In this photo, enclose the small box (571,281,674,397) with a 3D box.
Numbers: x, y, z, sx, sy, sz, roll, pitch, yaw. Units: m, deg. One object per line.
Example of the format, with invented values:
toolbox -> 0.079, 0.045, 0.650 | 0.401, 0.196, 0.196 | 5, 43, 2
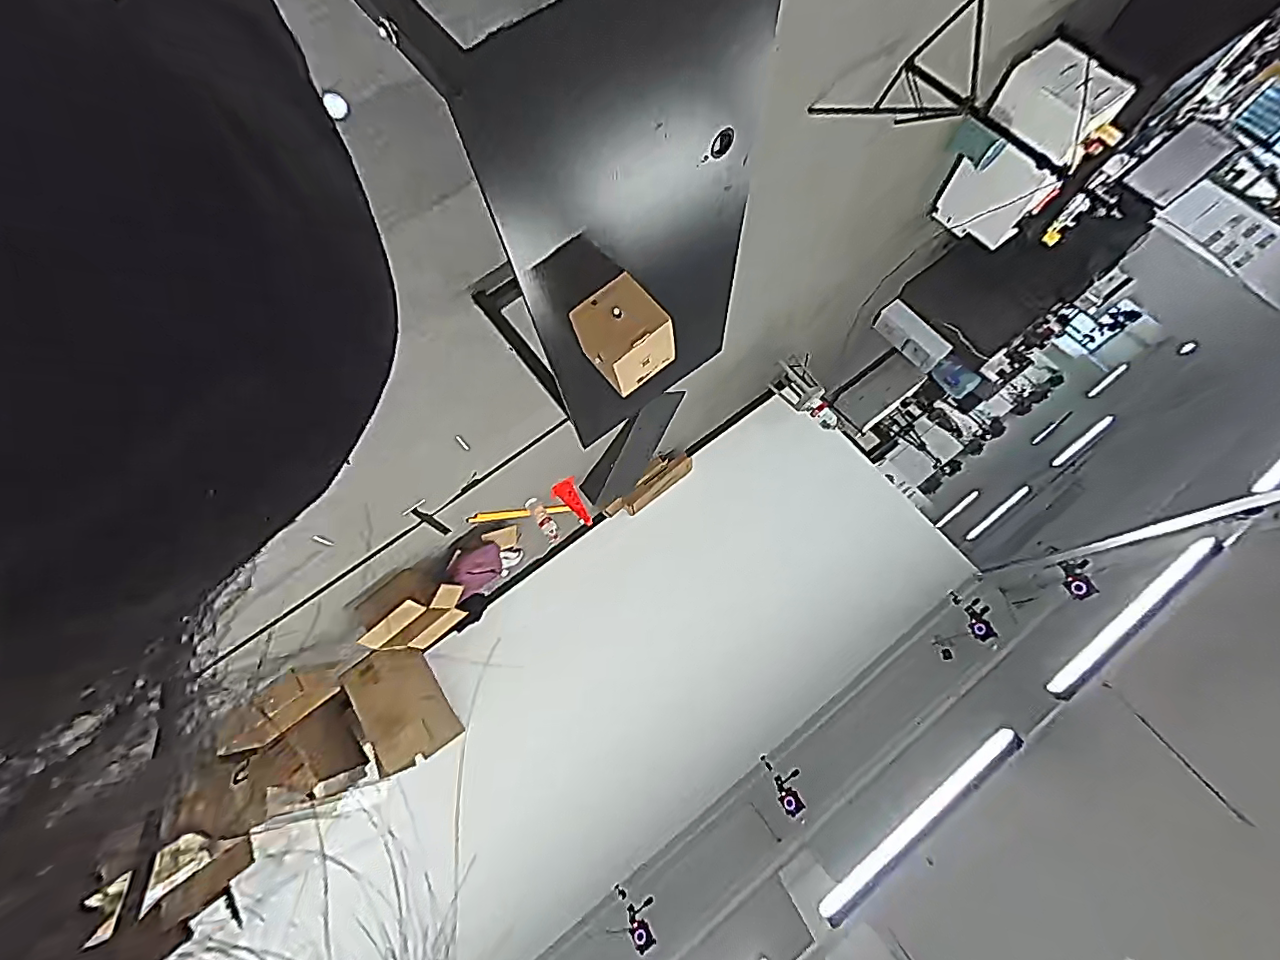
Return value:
small box -> -0.040, -0.334, 1.266 | 0.168, 0.176, 0.179 | -39, 162, -5
